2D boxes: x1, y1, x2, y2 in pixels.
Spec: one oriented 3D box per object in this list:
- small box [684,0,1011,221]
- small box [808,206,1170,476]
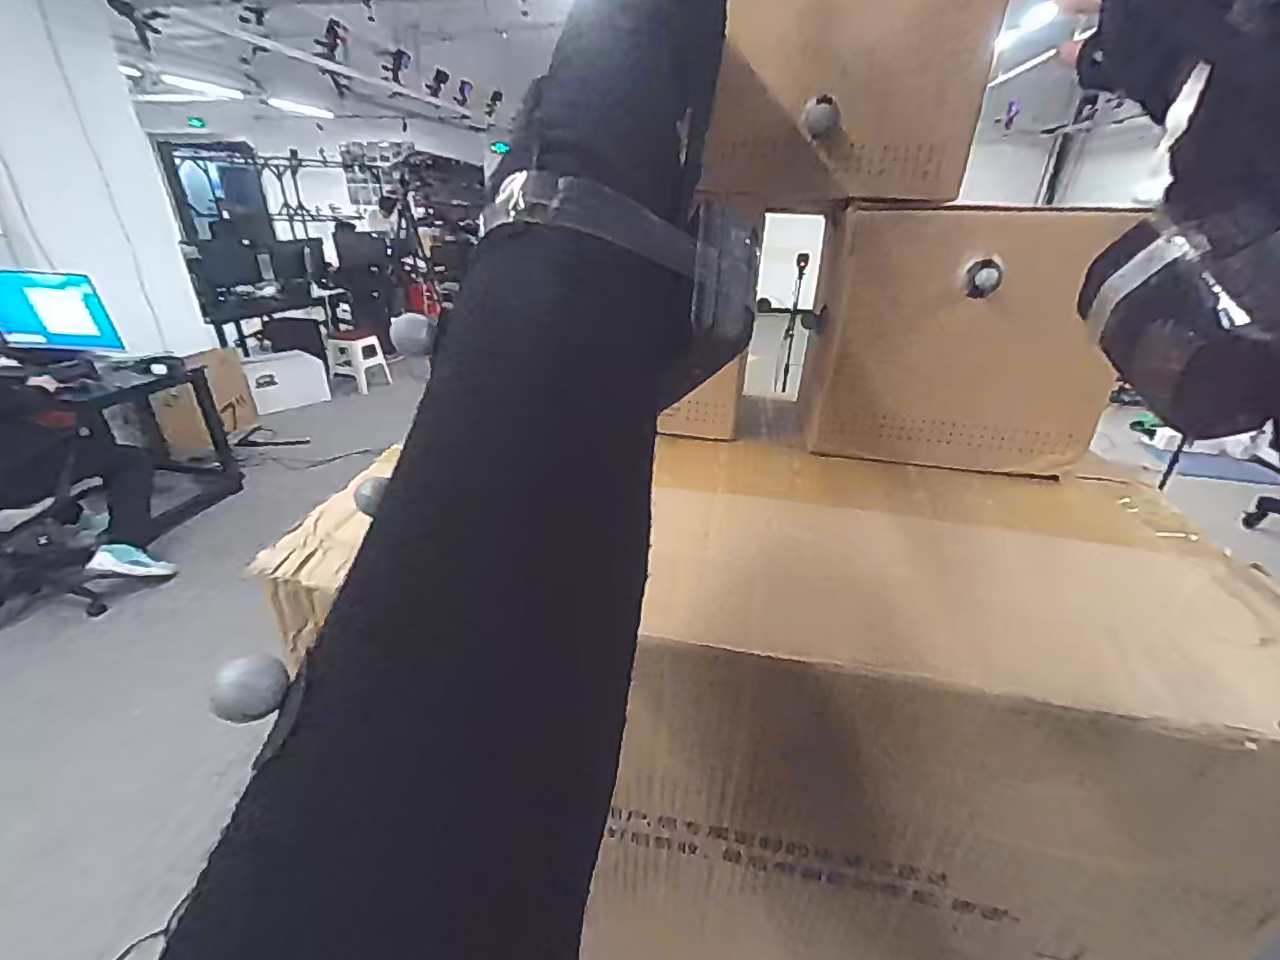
[{"bbox_3d":[0.135,-0.280,0.383,0.179,0.176,0.168,8,22,10],"label":"small box"},{"bbox_3d":[0.234,-0.113,0.425,0.179,0.176,0.168,8,25,10],"label":"small box"}]
